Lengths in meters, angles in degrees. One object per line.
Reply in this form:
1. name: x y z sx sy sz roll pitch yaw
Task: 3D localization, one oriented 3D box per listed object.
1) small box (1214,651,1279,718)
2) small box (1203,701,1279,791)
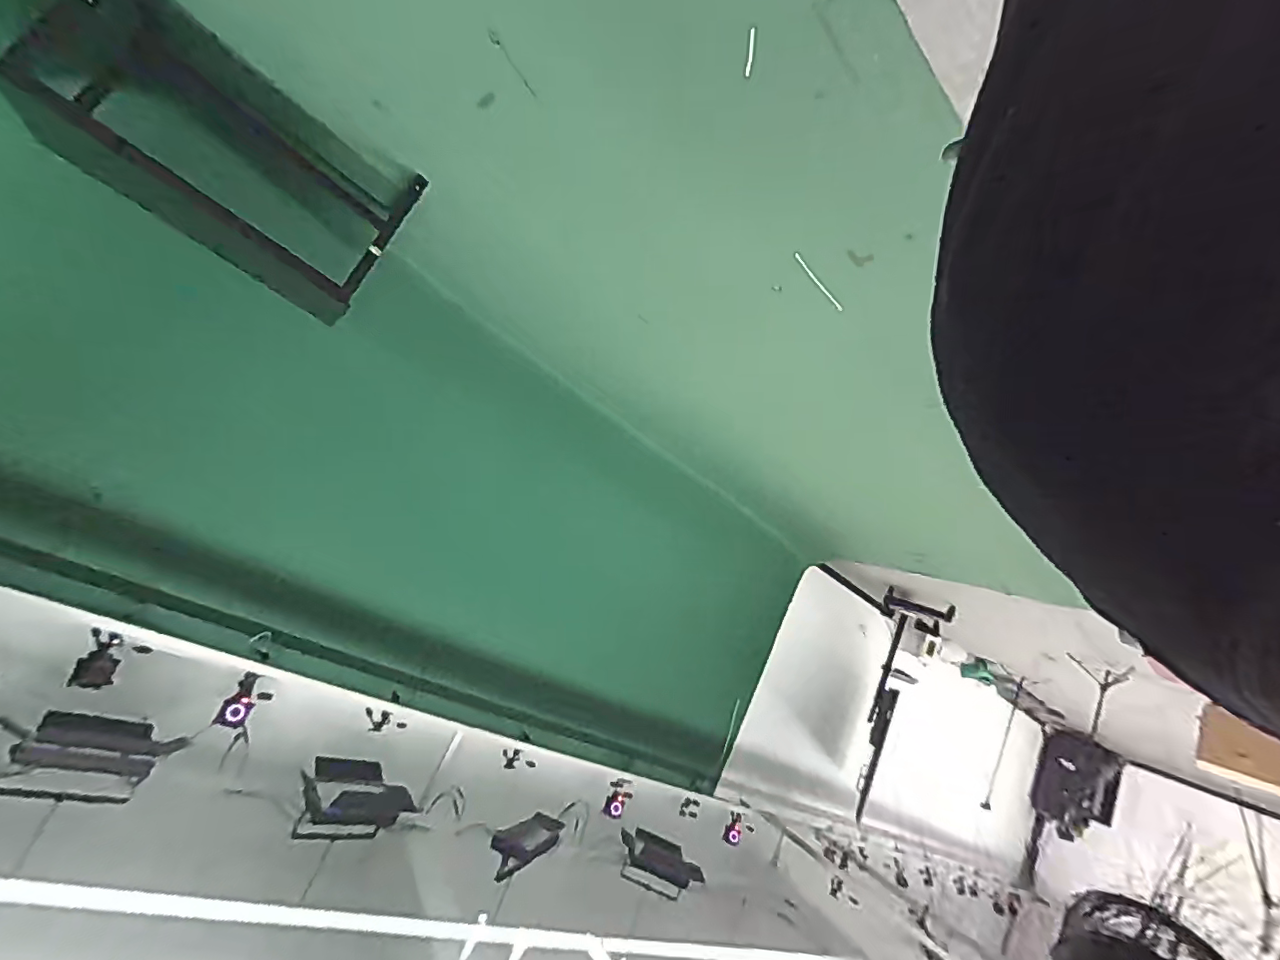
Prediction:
1. small box: 1.786 0.606 1.547 0.179 0.176 0.168 9 160 47
2. small box: 1.698 0.736 1.493 0.168 0.176 0.179 34 164 -34
